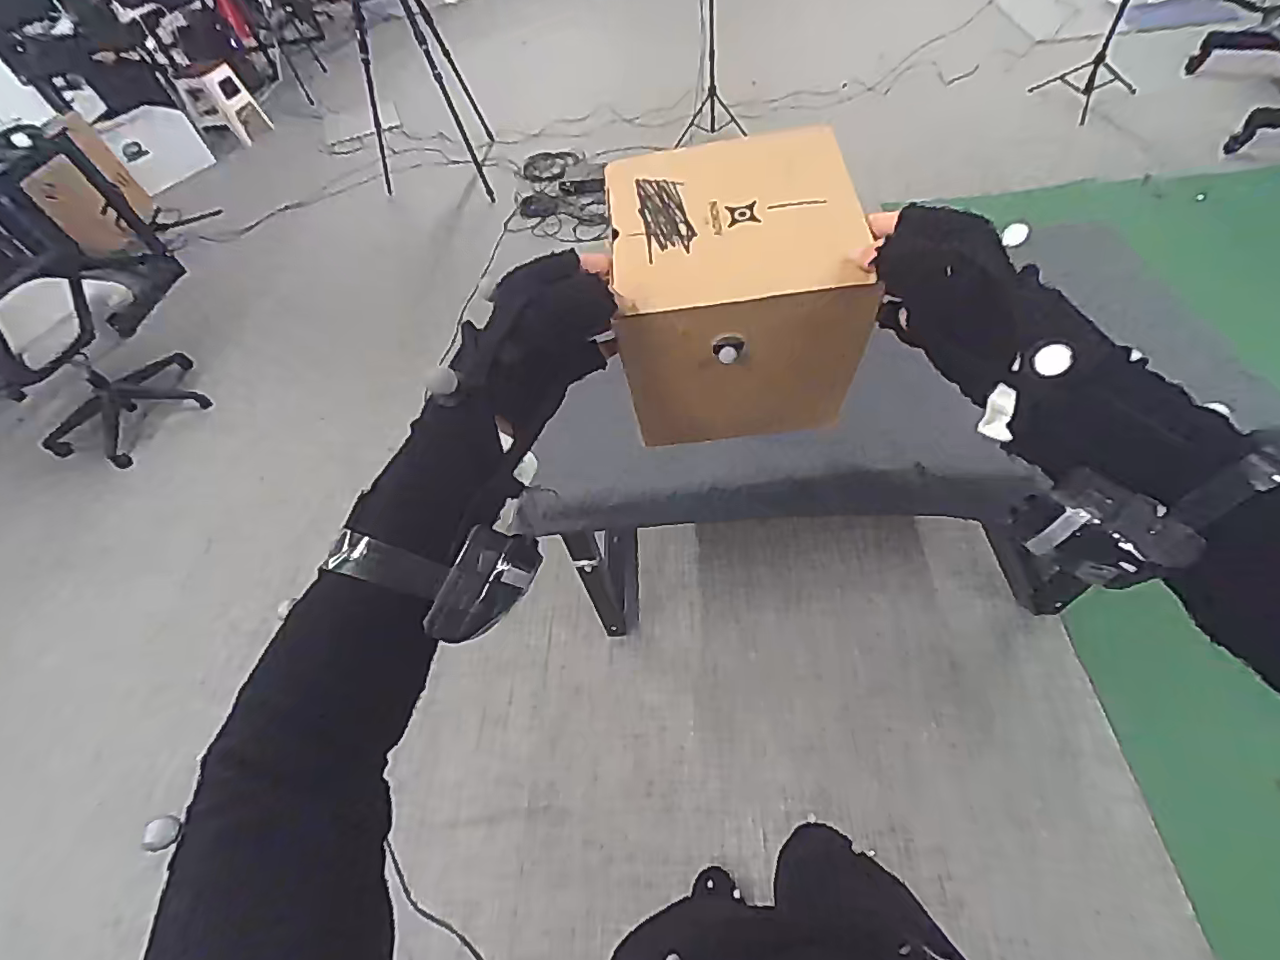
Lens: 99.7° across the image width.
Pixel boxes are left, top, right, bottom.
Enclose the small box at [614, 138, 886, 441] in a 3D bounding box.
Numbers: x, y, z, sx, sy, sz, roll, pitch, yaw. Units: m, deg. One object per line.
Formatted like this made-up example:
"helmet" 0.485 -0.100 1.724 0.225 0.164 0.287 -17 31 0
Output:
"small box" 0.079 -0.145 0.456 0.179 0.176 0.168 -6 62 5
